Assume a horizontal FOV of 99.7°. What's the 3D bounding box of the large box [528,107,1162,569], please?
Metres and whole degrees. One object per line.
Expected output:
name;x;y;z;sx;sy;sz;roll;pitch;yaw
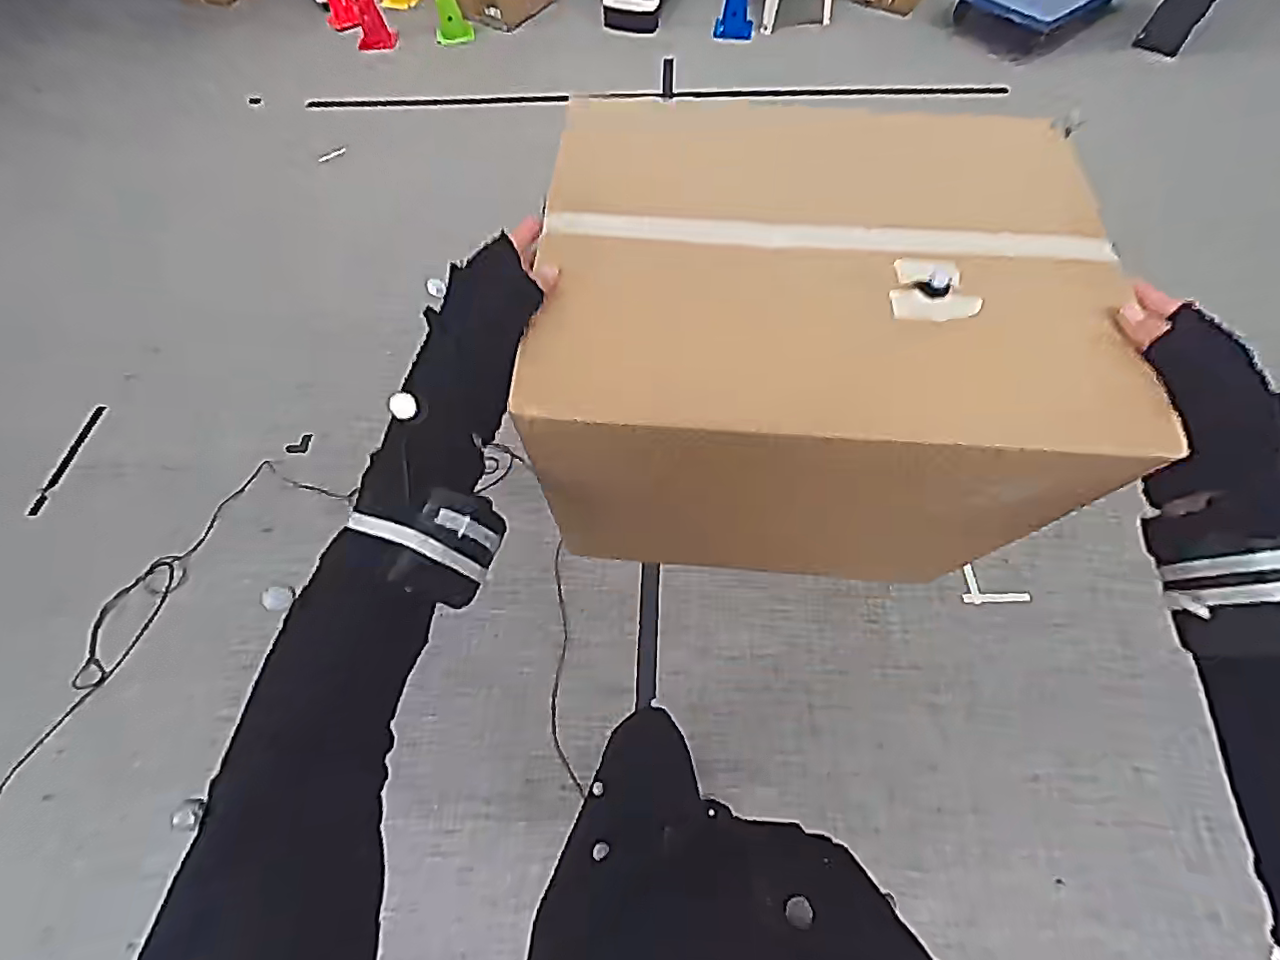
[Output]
large box;0.130;-0.108;0.531;0.408;0.320;0.320;4;67;1
